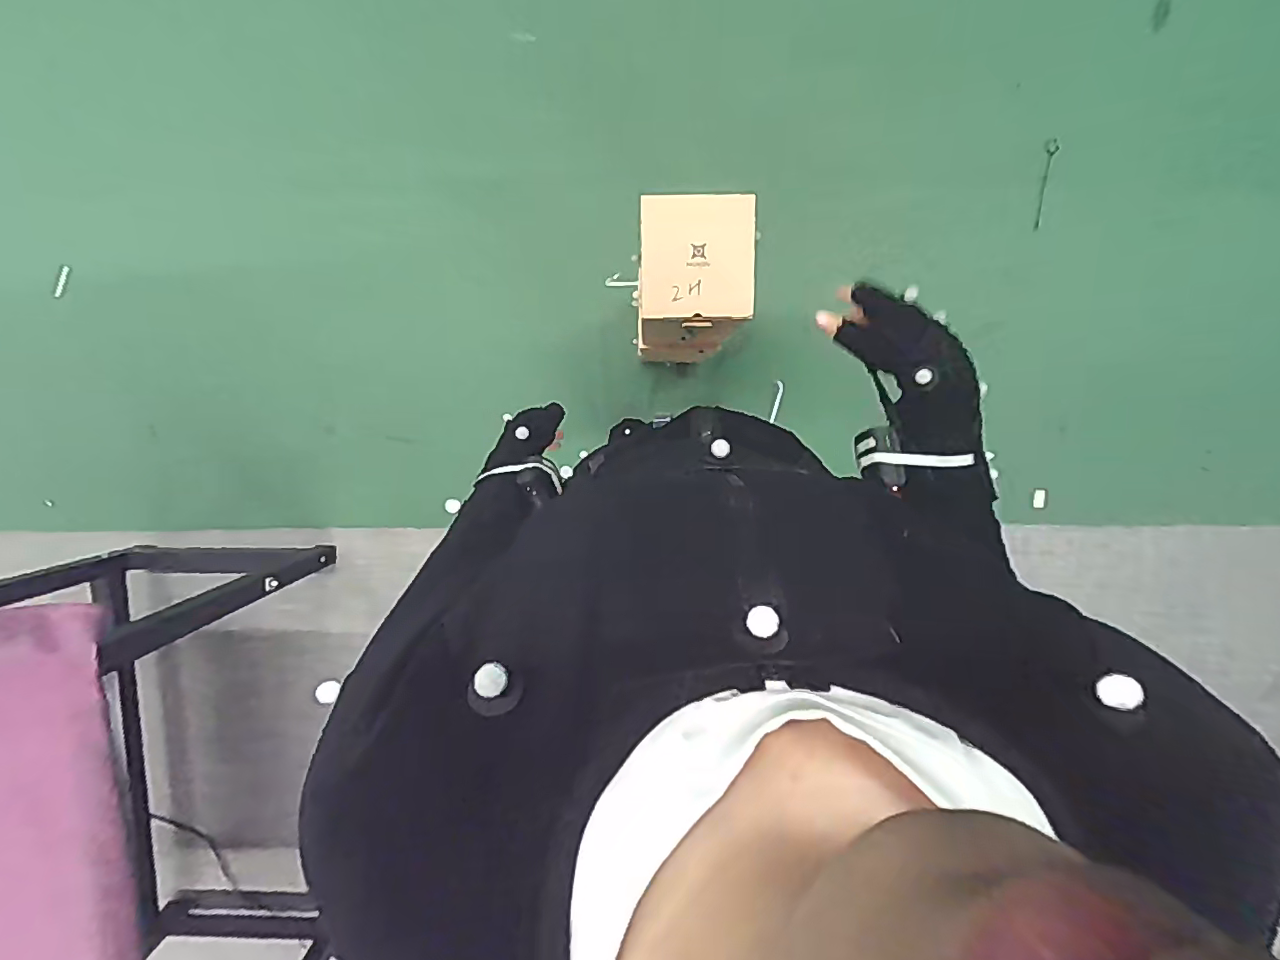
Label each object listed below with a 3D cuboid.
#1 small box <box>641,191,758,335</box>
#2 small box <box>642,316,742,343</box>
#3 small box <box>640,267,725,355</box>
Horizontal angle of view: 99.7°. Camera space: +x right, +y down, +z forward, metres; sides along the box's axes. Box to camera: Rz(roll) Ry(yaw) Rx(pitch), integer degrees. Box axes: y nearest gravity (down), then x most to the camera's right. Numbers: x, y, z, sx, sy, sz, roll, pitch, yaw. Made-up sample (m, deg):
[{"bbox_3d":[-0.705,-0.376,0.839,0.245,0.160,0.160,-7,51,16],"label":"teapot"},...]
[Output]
[{"bbox_3d":[0.086,-0.333,0.856,0.168,0.176,0.179,0,97,1],"label":"small box"},{"bbox_3d":[0.094,-0.356,1.017,0.179,0.176,0.168,2,95,0],"label":"small box"},{"bbox_3d":[0.090,-0.365,1.184,0.179,0.176,0.168,0,97,1],"label":"small box"}]
